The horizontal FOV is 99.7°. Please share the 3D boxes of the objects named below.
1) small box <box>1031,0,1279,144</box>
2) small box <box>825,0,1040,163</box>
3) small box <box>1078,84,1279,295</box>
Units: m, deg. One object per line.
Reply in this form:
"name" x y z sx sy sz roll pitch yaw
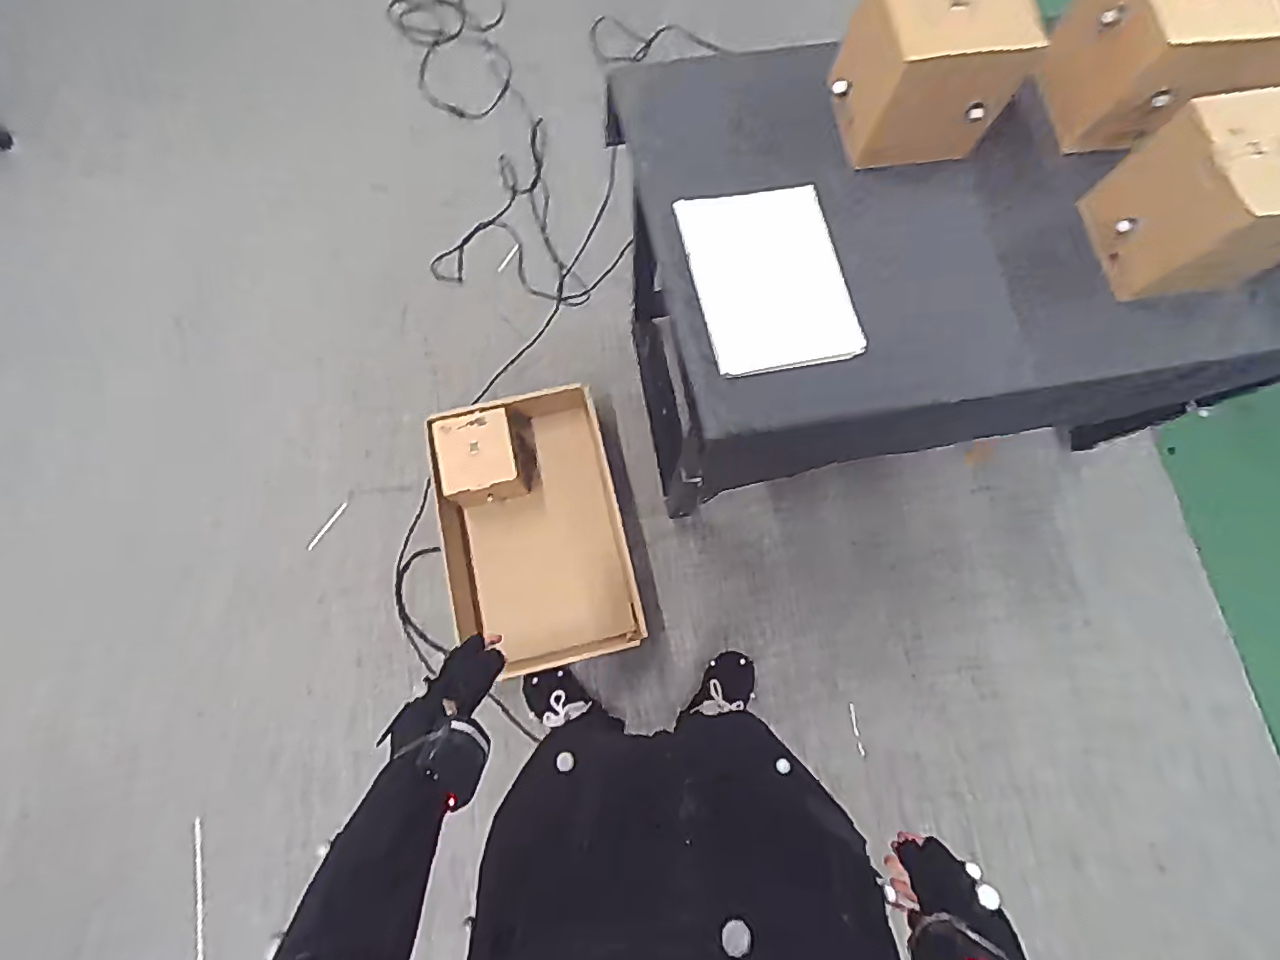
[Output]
"small box" 0.691 -0.595 0.745 0.168 0.176 0.179 -7 77 -2
"small box" 0.376 -0.562 0.728 0.179 0.176 0.168 -7 77 -4
"small box" 0.725 -0.359 0.688 0.179 0.176 0.168 -9 76 -3
